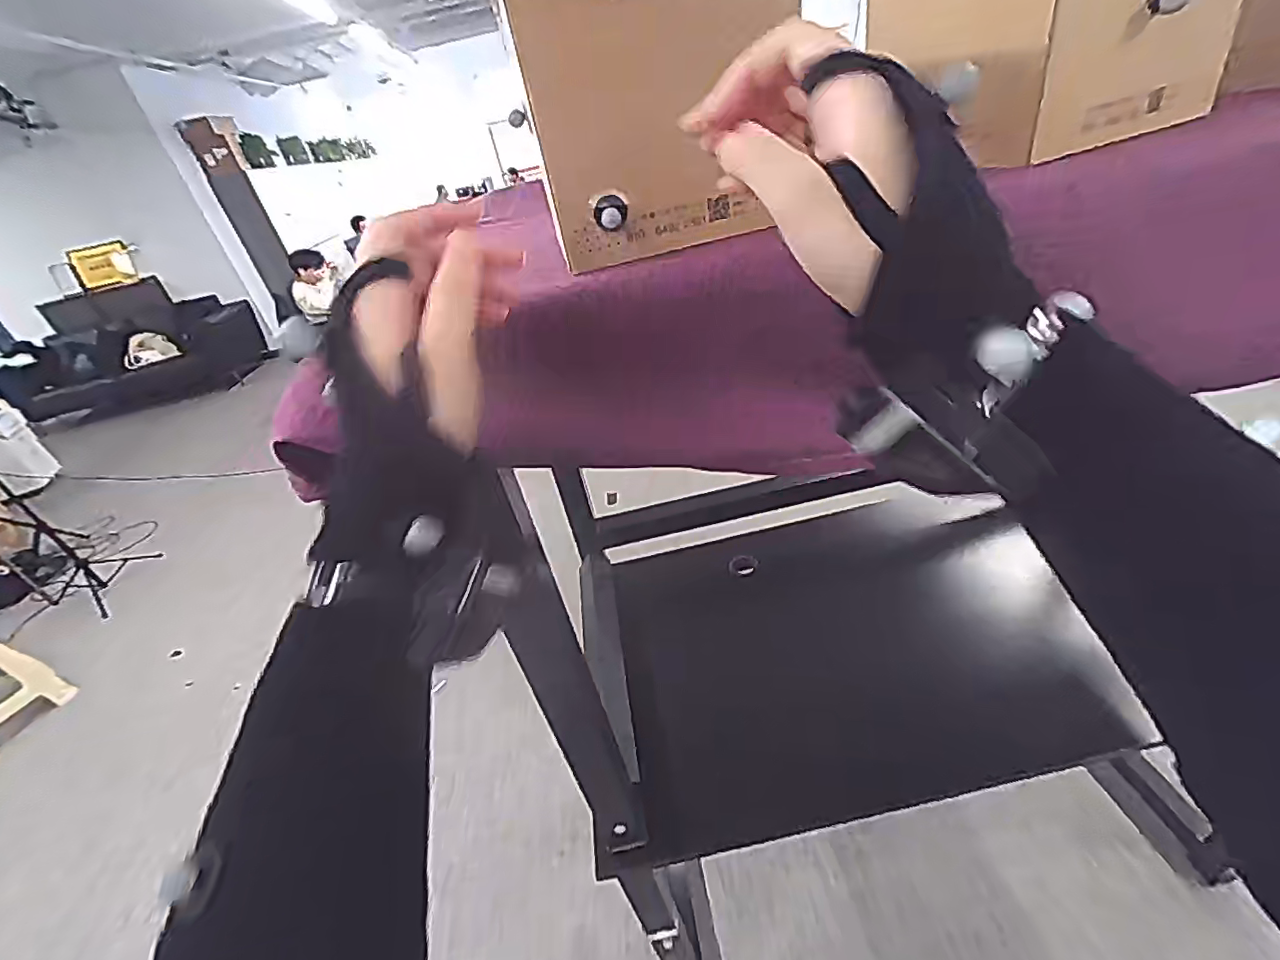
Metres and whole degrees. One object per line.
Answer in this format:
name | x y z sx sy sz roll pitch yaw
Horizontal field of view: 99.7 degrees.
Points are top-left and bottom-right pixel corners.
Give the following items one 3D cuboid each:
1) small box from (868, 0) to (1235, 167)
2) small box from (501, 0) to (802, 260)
small box | 0.295 -0.345 0.402 0.168 0.176 0.179 -19 33 -9
small box | 0.005 -0.268 0.386 0.168 0.176 0.179 -15 32 -3
